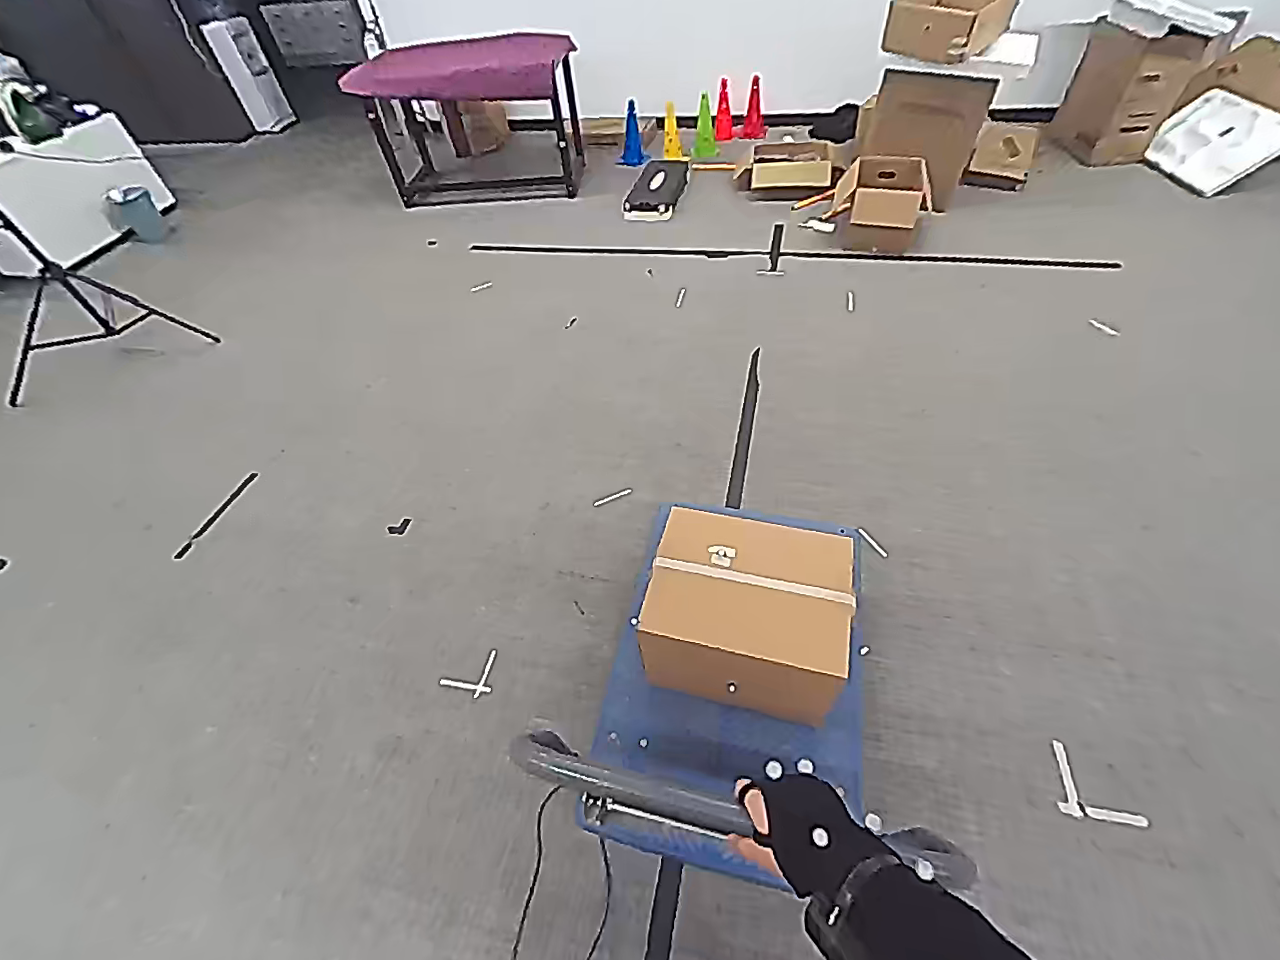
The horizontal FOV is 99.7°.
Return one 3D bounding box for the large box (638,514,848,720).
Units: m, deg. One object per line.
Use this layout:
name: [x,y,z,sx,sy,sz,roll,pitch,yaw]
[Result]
large box: [0.241,0.314,1.243,0.408,0.320,0.320,9,51,14]
